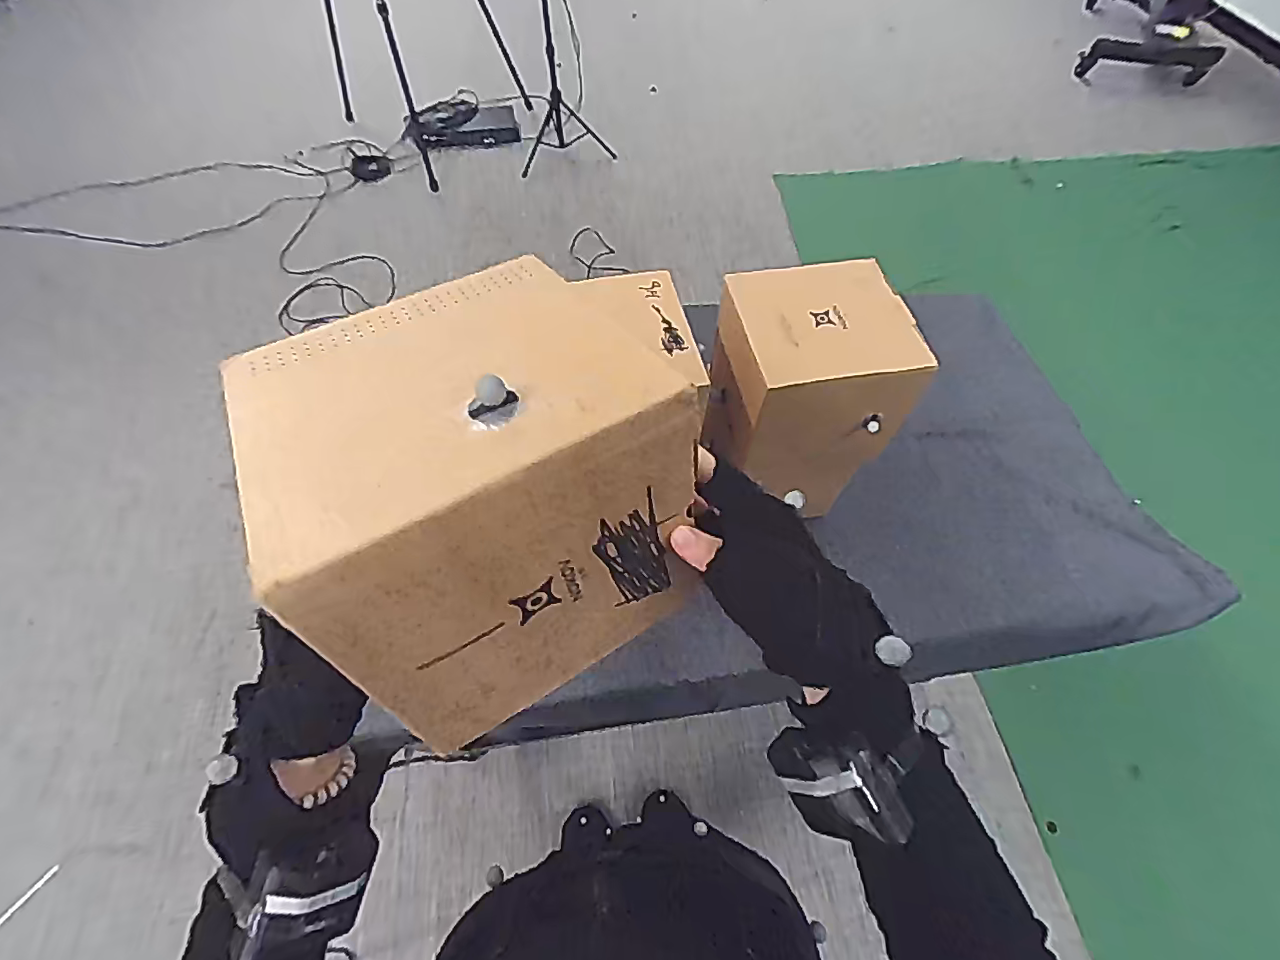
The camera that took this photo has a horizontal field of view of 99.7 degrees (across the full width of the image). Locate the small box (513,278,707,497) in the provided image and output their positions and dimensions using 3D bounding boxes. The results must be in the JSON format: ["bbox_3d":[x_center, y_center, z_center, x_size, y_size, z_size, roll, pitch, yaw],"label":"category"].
[{"bbox_3d":[-0.034,-0.097,0.616,0.179,0.176,0.168,-11,61,-6],"label":"small box"}]
